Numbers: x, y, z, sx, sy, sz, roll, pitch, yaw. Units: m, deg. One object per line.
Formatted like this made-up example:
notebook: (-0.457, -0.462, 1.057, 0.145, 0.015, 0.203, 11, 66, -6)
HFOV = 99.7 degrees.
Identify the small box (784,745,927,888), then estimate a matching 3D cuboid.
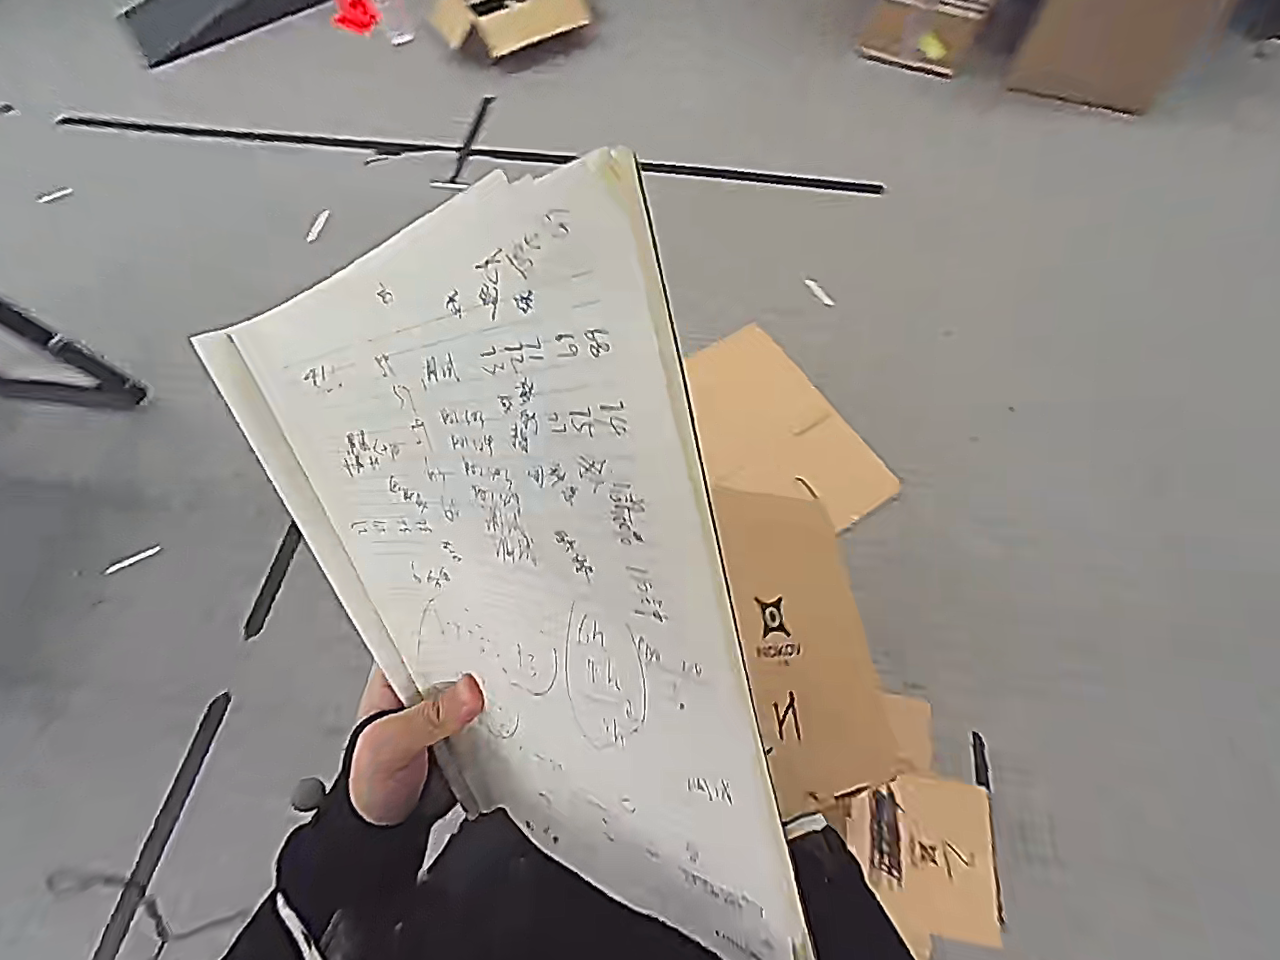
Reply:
small box: (0.341, 0.538, 0.890, 0.179, 0.176, 0.168, 6, 68, 3)
